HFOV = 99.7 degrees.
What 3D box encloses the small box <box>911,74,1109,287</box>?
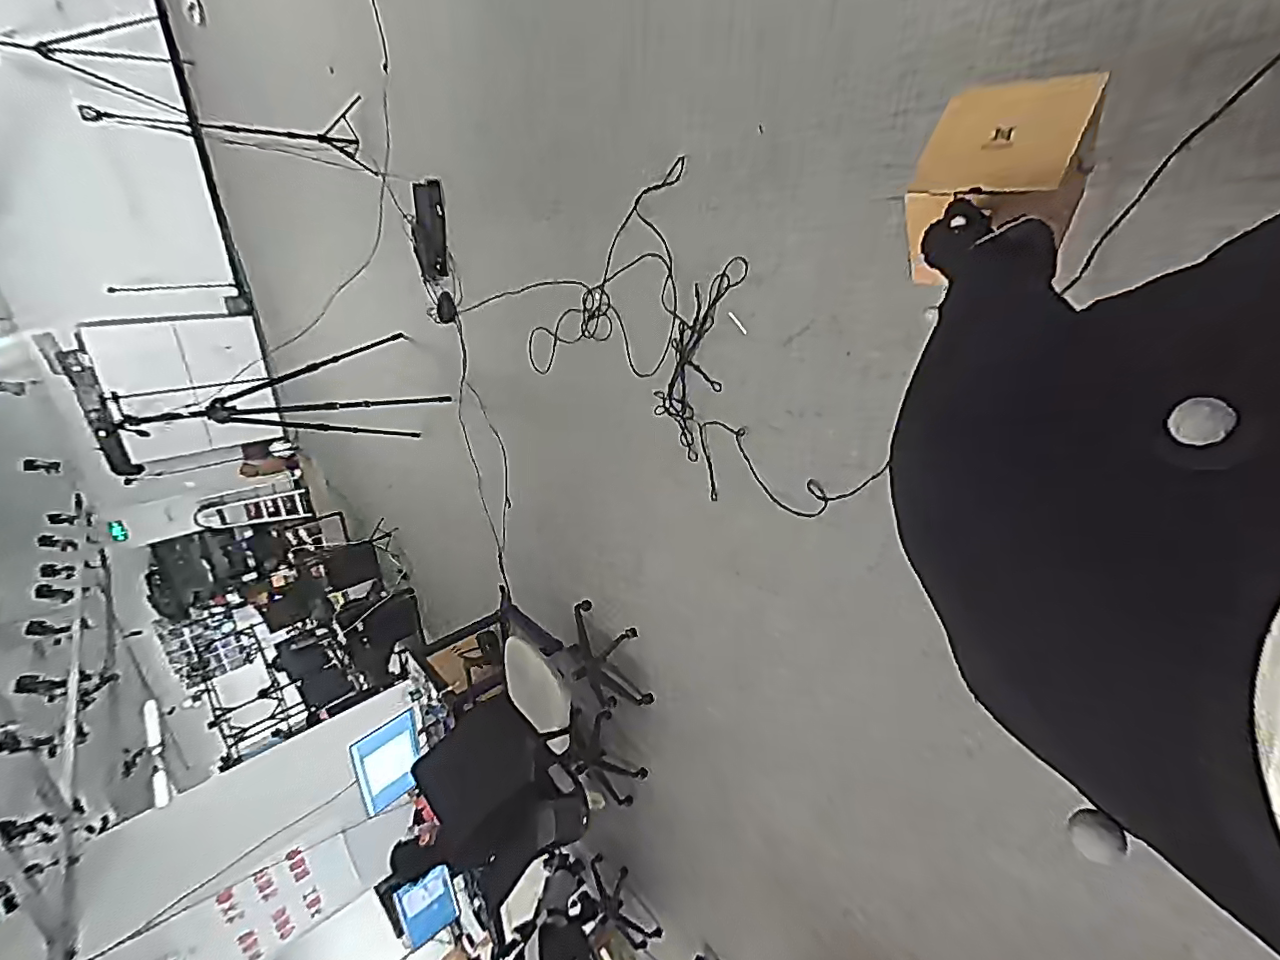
[{"bbox_3d":[0.486,-0.392,0.728,0.168,0.176,0.179,21,78,37],"label":"small box"}]
